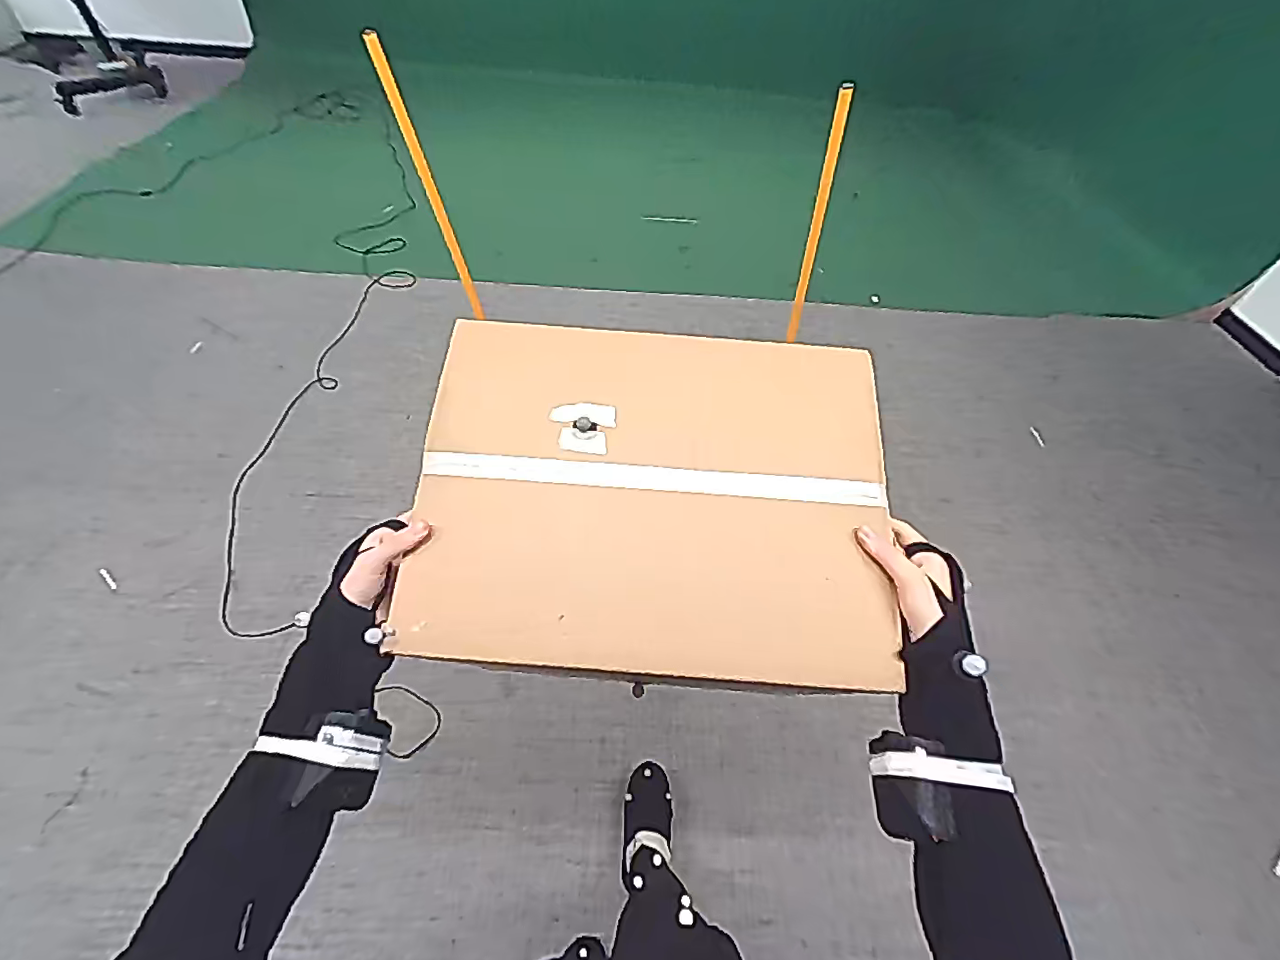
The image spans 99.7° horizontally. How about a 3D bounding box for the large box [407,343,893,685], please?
[{"bbox_3d":[0.016,0.065,0.630,0.408,0.320,0.320,4,67,1],"label":"large box"}]
